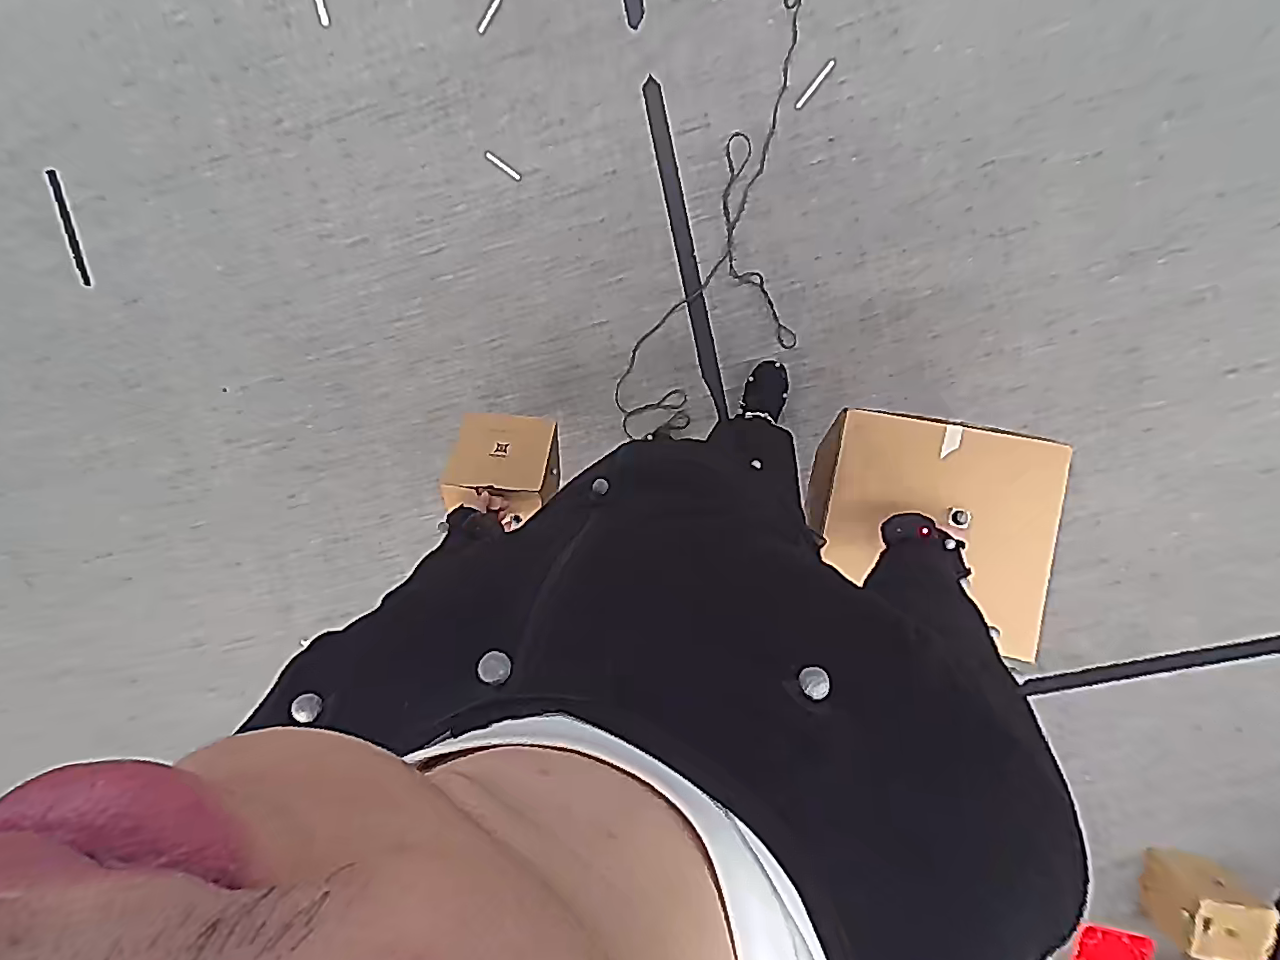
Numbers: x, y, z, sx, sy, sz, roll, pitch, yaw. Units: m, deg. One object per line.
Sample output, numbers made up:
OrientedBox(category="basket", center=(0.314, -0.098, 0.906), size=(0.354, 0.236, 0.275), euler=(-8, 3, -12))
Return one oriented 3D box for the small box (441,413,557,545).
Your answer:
OrientedBox(category="small box", center=(-0.248, 0.002, 0.998), size=(0.168, 0.179, 0.176), euler=(5, 139, -2))
